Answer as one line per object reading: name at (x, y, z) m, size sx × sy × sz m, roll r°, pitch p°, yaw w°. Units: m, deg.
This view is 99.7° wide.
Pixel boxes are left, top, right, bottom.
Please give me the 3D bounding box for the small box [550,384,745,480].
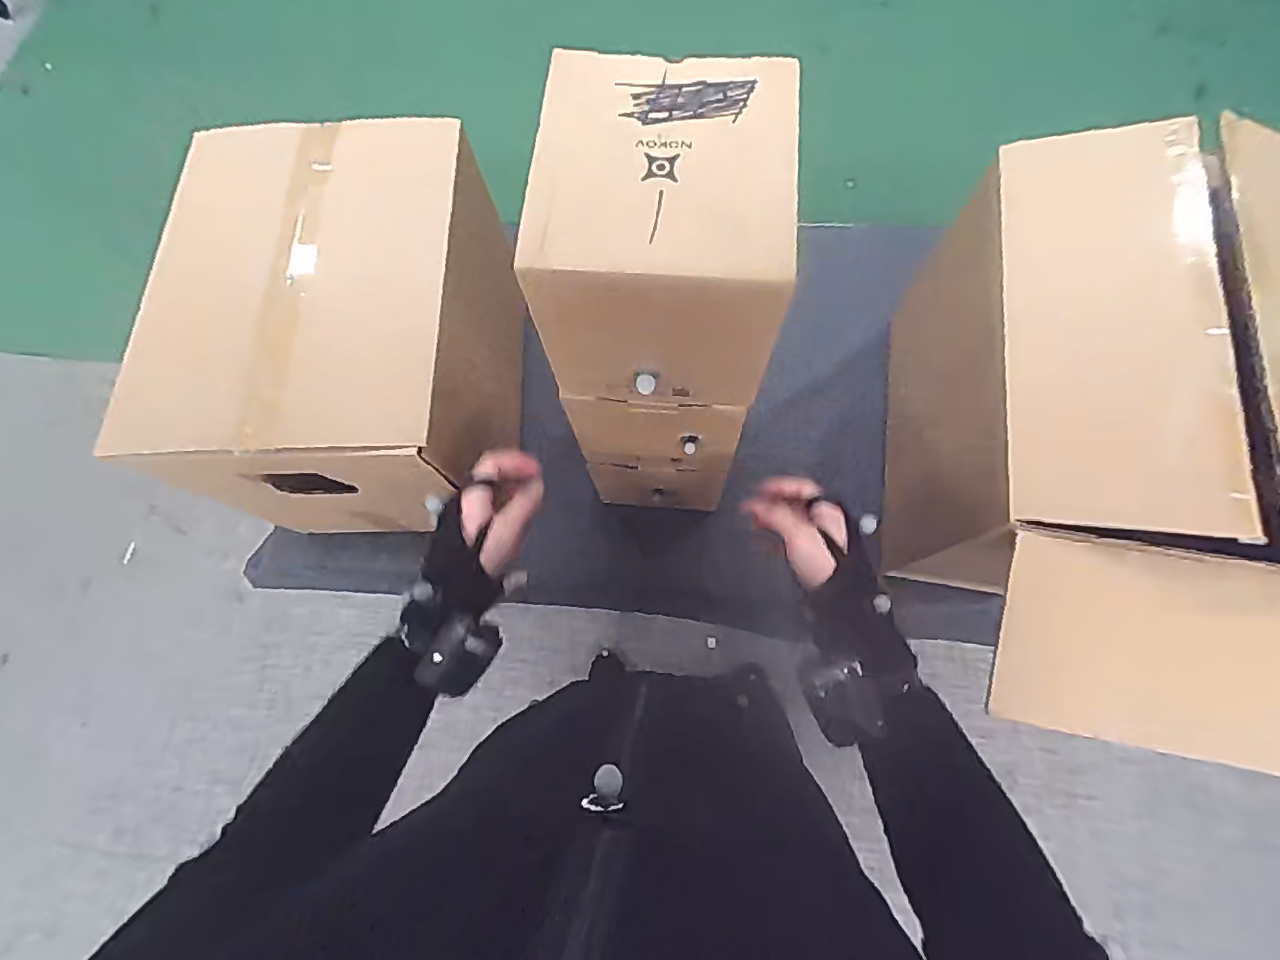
small box at (0.017, -0.106, 0.539) m, size 0.168 × 0.176 × 0.179 m, roll 4°, pitch 72°, yaw 3°
